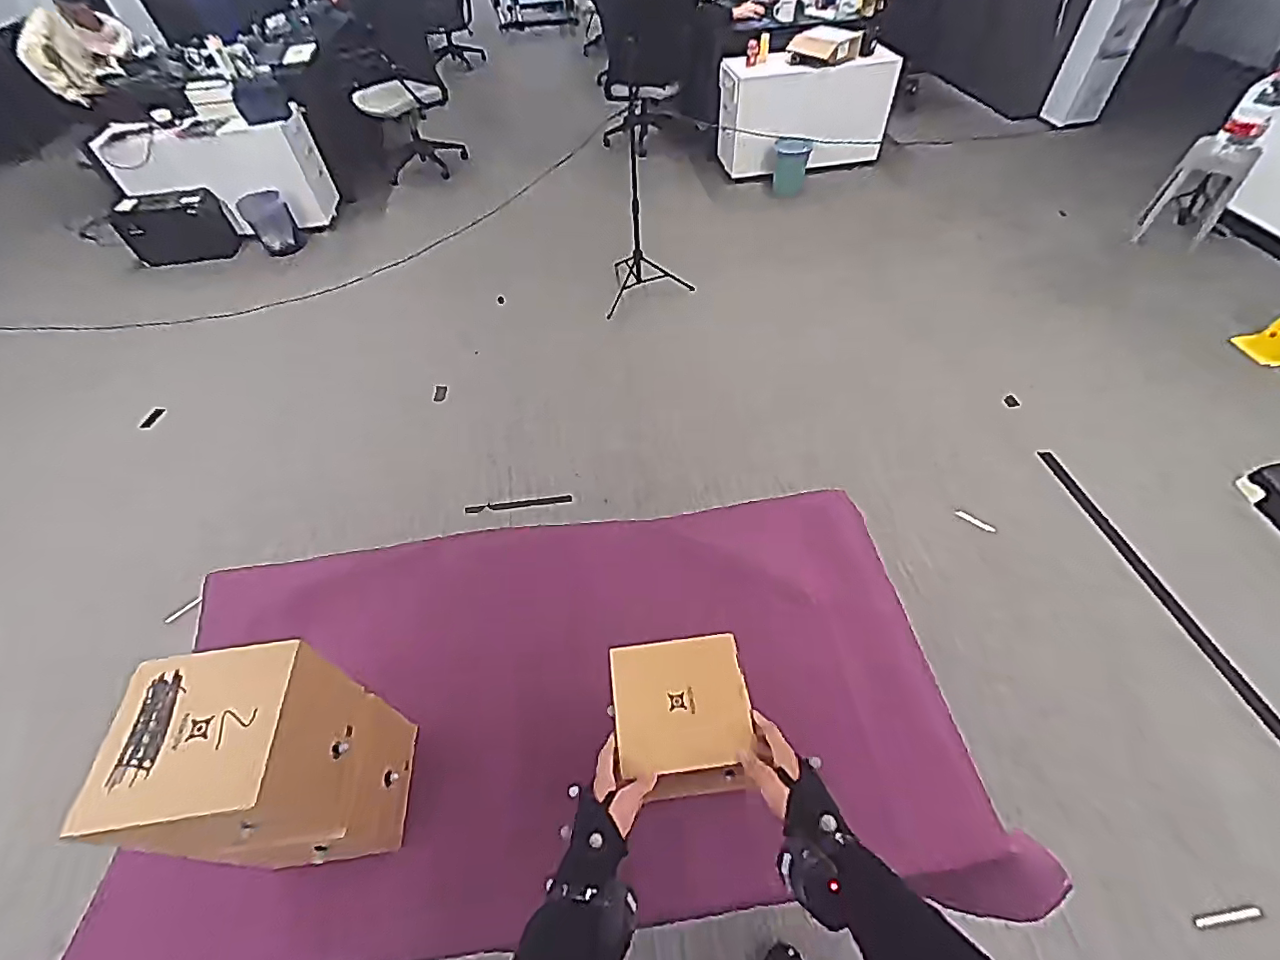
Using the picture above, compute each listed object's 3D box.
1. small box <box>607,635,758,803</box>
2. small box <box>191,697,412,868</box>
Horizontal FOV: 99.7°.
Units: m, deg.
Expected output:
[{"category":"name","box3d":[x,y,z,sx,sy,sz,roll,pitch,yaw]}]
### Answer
[{"category":"small box","box3d":[0.054,0.338,0.757,0.179,0.176,0.168,-7,51,-3]},{"category":"small box","box3d":[-0.428,0.408,0.726,0.179,0.176,0.168,-6,51,-2]}]
